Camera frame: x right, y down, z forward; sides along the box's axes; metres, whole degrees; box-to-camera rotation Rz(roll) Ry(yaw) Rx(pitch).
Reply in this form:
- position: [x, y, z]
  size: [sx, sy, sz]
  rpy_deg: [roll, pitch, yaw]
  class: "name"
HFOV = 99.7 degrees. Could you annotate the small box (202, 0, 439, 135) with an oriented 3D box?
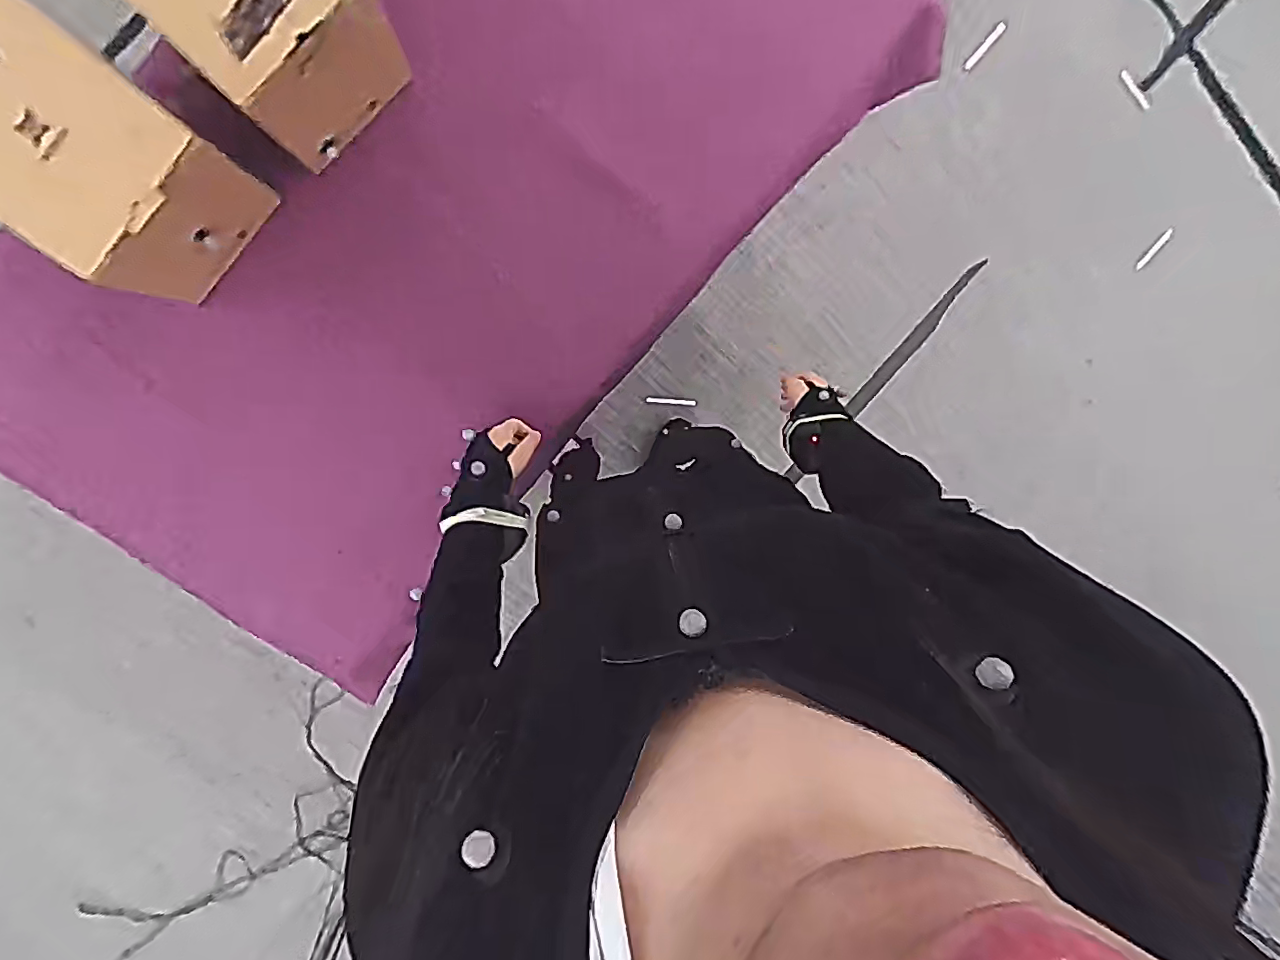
- position: [-0.328, -0.481, 0.532]
  size: [0.168, 0.176, 0.179]
  rpy_deg: [-43, 105, 0]
  class: "small box"
